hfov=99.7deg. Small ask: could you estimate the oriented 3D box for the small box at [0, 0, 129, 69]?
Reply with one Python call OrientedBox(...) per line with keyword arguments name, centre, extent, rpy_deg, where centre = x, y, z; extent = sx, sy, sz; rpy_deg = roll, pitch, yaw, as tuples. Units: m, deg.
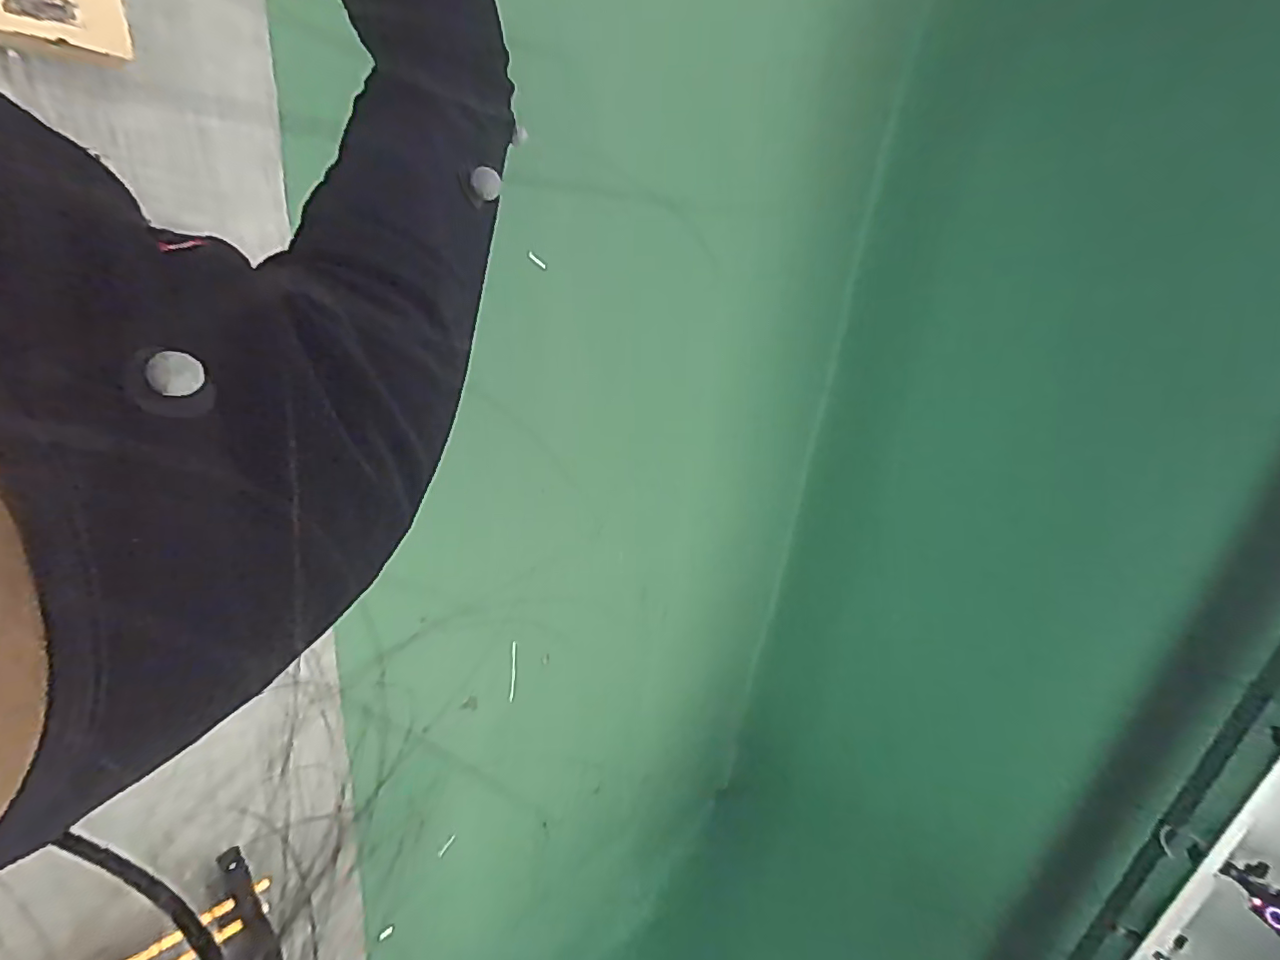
OrientedBox(name="small box", centre=(-0.916, -0.757, 0.821), extent=(0.168, 0.176, 0.179), rpy_deg=(-18, 122, -45))
